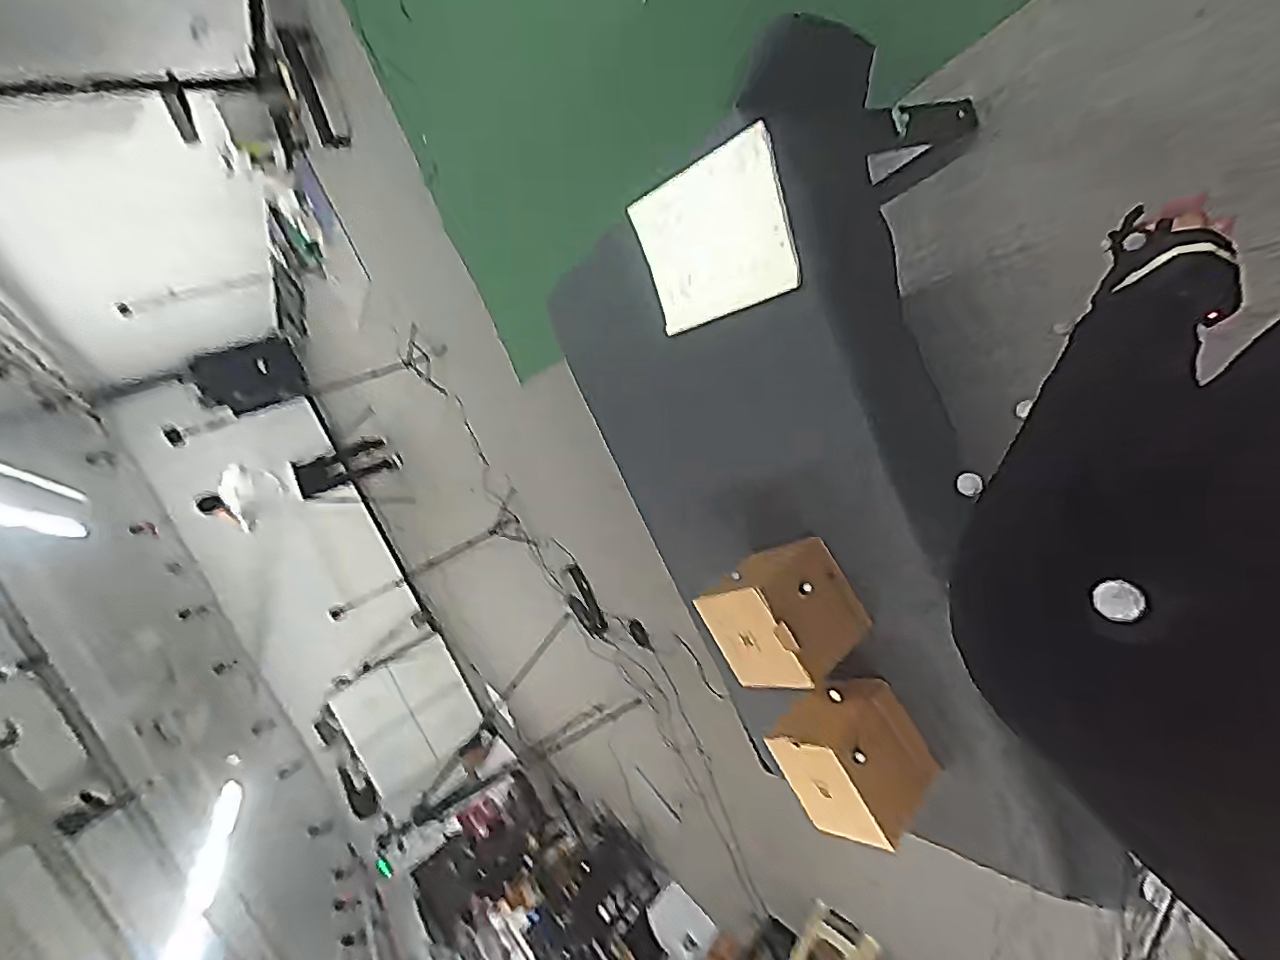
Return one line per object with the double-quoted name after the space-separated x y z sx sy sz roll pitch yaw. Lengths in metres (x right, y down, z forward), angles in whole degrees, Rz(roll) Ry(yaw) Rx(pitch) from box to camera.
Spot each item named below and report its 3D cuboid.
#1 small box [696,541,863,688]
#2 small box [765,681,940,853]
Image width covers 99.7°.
0.231 0.216 0.880 0.168 0.176 0.179 61 149 3 "small box"
0.352 0.460 0.896 0.179 0.176 0.168 59 148 5 "small box"
